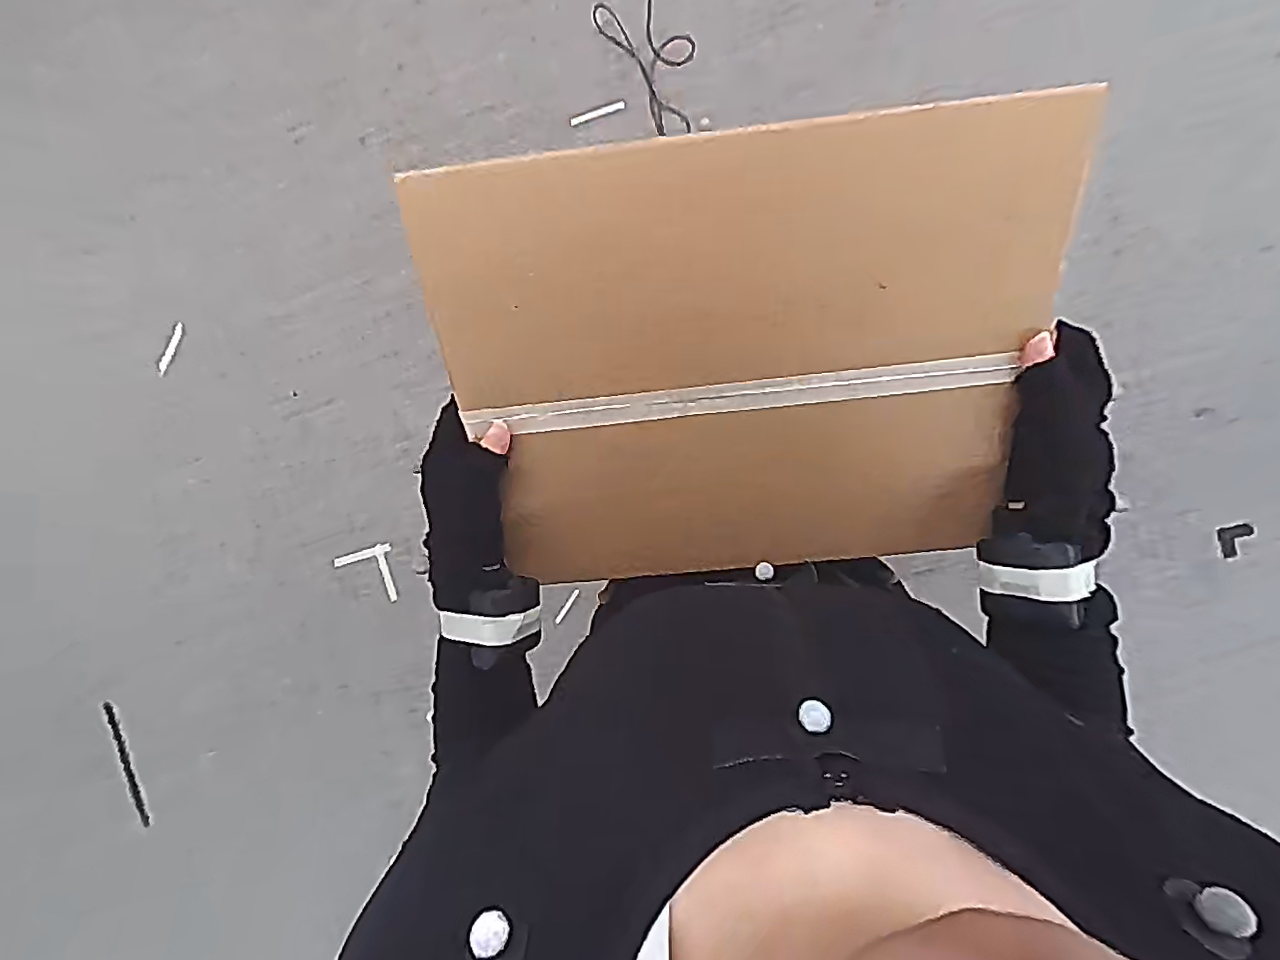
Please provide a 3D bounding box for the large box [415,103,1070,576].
[{"bbox_3d":[0.073,-0.141,0.526,0.408,0.320,0.320,-6,120,3],"label":"large box"}]
